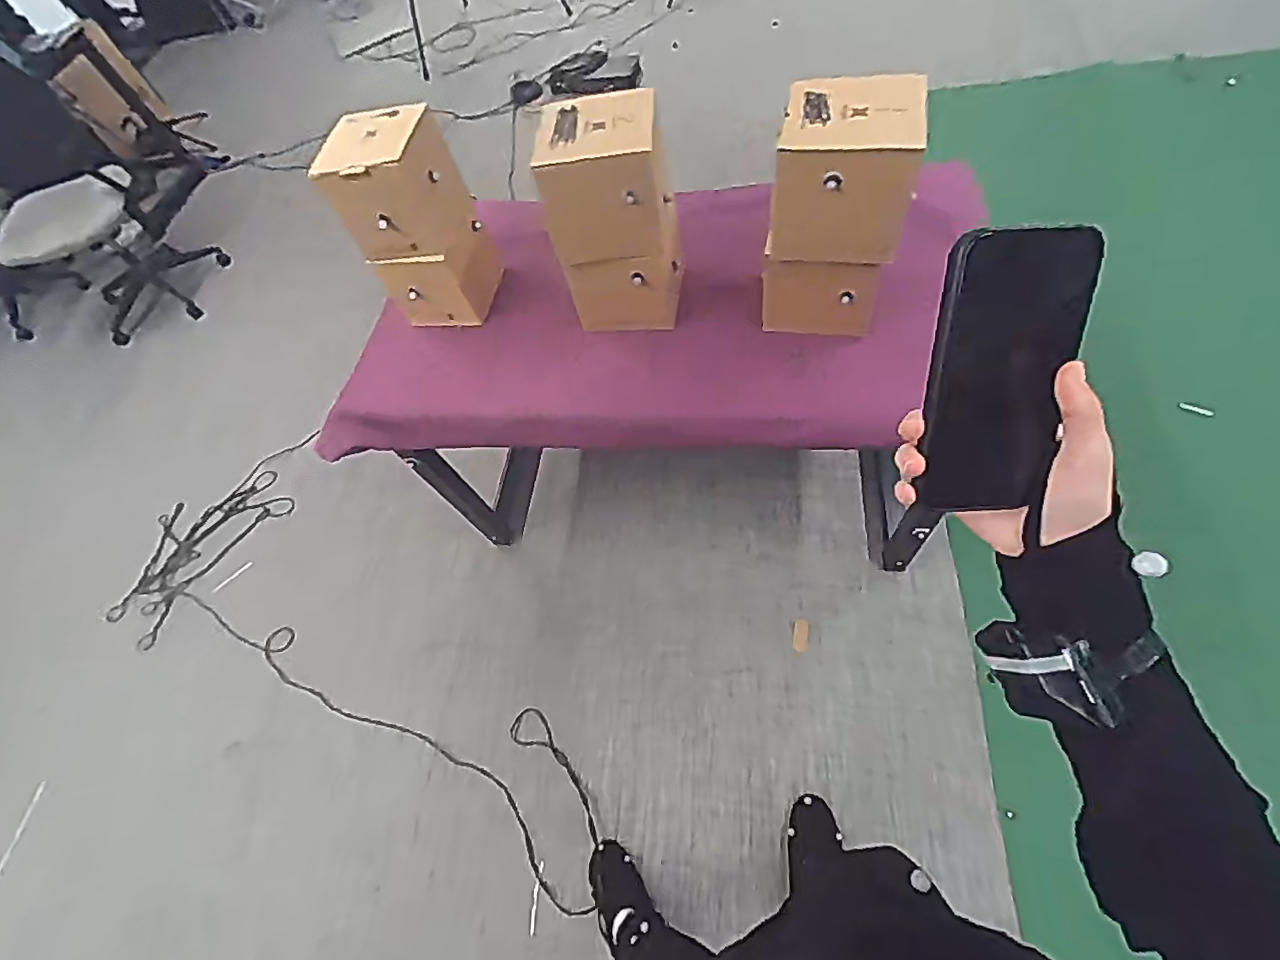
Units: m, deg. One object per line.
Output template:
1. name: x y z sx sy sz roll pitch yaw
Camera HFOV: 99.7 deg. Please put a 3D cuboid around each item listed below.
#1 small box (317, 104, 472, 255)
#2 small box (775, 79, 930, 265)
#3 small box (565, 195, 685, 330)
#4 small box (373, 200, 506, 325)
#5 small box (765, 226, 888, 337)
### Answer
1. small box: -0.420 -0.520 0.958 0.168 0.176 0.179 0 61 10
2. small box: 0.290 -0.427 0.762 0.179 0.176 0.168 9 63 15
3. small box: -0.016 -0.393 0.995 0.179 0.176 0.168 3 61 13
4. small box: -0.392 -0.433 1.095 0.168 0.176 0.179 4 62 14
5. small box: 0.313 -0.361 0.911 0.179 0.176 0.168 9 63 17
